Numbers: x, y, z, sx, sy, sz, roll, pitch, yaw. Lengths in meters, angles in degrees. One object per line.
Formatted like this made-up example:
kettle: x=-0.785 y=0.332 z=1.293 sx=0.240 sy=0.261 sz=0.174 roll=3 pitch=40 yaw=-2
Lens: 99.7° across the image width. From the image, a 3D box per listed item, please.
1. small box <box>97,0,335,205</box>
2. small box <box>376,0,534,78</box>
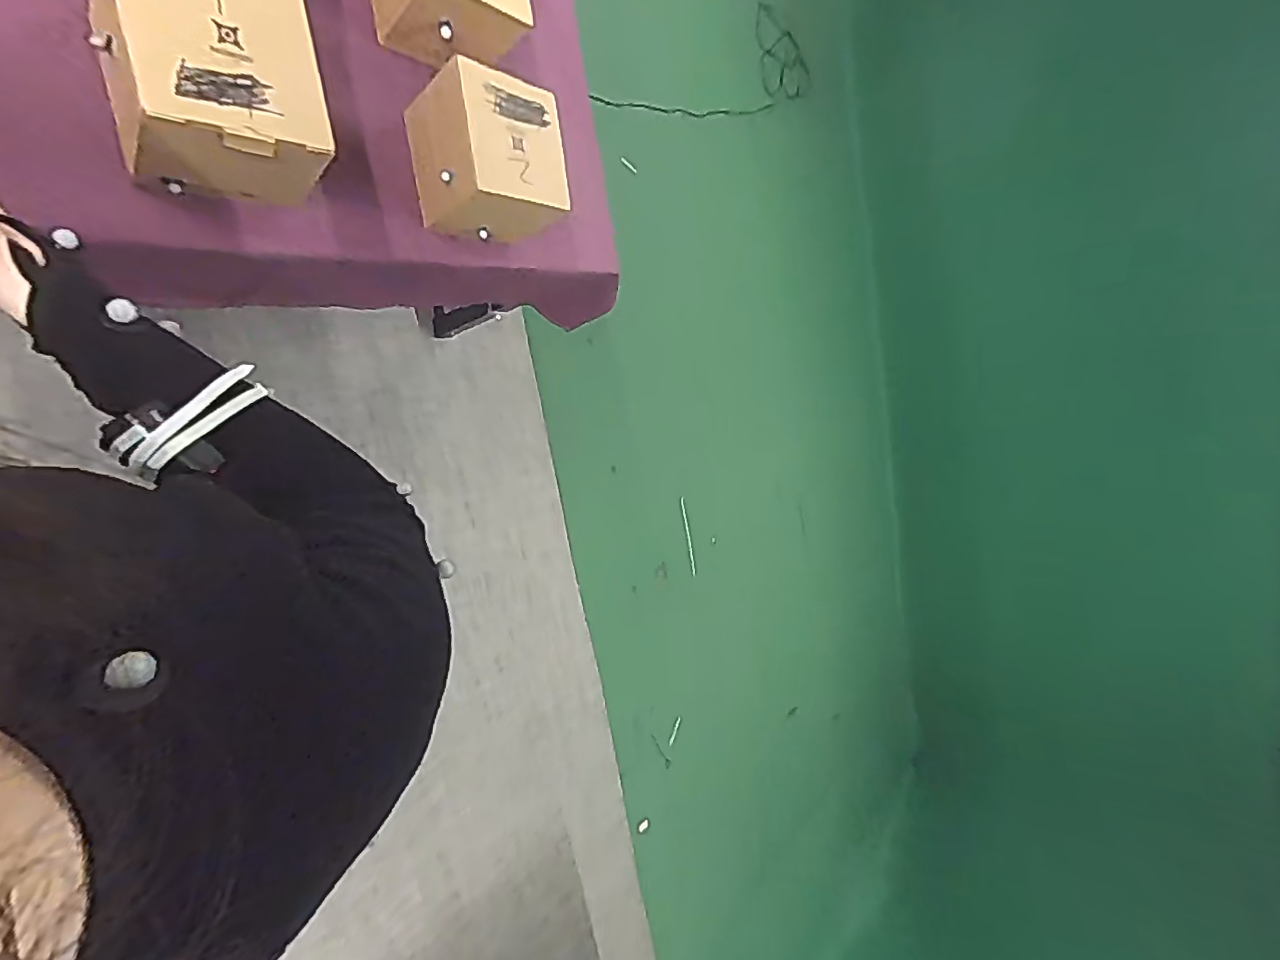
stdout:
small box: x=-0.465 y=-0.431 z=0.597 sx=0.168 sy=0.176 sz=0.179 roll=-16 pitch=99 yaw=-44
small box: x=-0.281 y=-0.744 z=0.795 sx=0.168 sy=0.176 sz=0.179 roll=-14 pitch=99 yaw=-44
